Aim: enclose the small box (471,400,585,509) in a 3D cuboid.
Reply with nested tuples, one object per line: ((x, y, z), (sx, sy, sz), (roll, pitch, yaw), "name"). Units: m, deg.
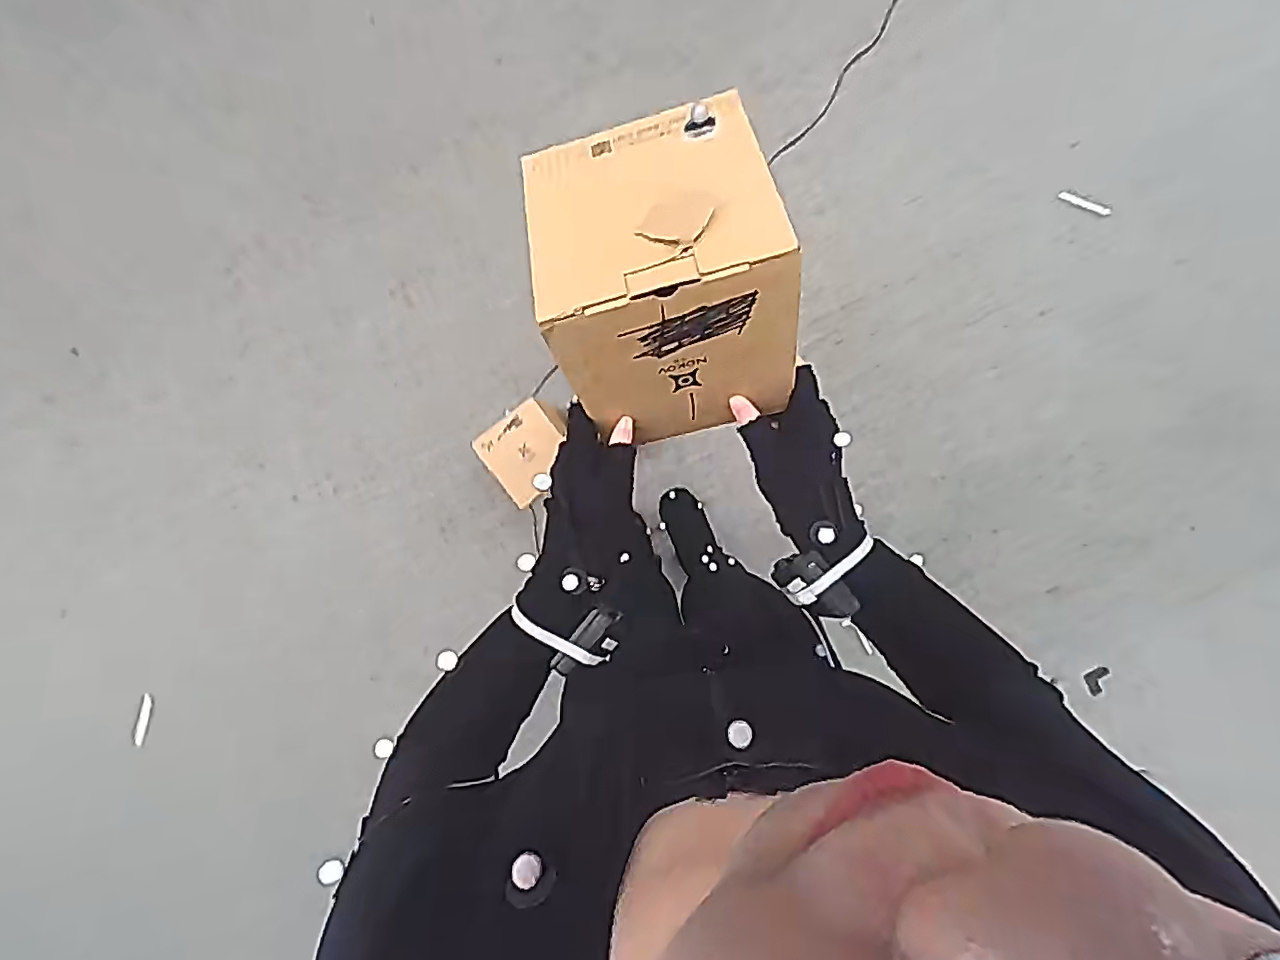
((-0.240, -0.061, 1.213), (0.168, 0.176, 0.179), (-37, 94, 3), "small box")

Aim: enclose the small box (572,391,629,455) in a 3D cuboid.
((-0.049, -0.177, 1.367), (0.168, 0.176, 0.179), (-37, 94, 3), "small box")

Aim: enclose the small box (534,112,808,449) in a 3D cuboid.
((0.023, -0.152, 0.430), (0.168, 0.179, 0.176), (-13, 64, 7), "small box")

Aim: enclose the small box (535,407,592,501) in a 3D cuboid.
((-0.237, -0.068, 1.377), (0.168, 0.176, 0.179), (-33, 93, 3), "small box")
